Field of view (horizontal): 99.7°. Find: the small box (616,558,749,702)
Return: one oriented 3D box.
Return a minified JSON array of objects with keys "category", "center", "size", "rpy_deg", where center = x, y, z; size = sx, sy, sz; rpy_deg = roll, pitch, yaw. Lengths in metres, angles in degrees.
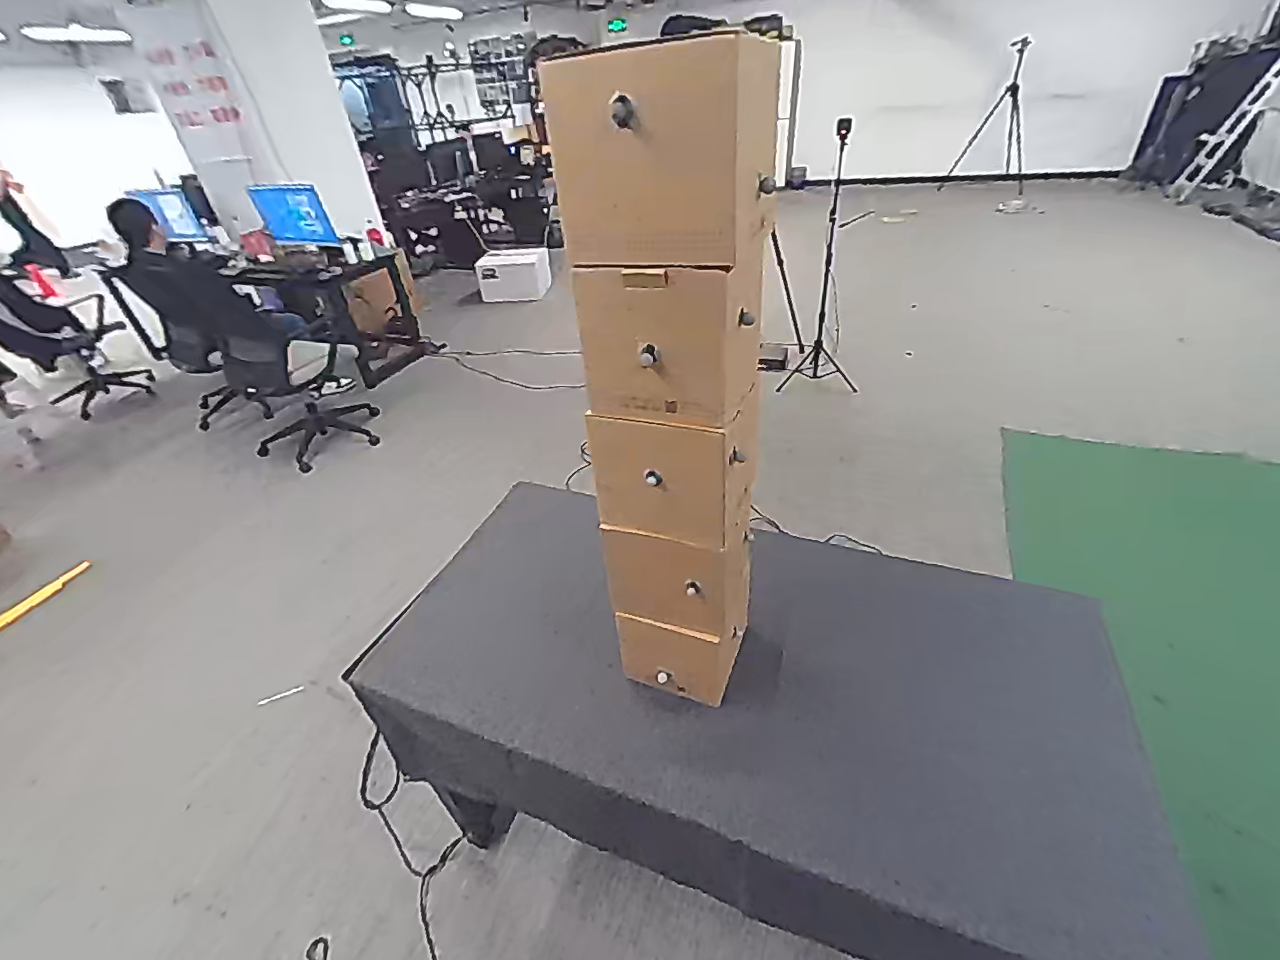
[{"category":"small box","center":[0.075,0.226,0.894],"size":[0.168,0.176,0.179],"rpy_deg":[11,39,22]}]

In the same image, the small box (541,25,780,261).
[{"category":"small box","center":[0.030,-0.320,0.533],"size":[0.179,0.176,0.168],"rpy_deg":[10,37,21]}]

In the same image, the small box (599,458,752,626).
[{"category":"small box","center":[0.059,0.091,0.803],"size":[0.179,0.176,0.168],"rpy_deg":[9,37,20]}]

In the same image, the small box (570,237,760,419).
[{"category":"small box","center":[0.041,-0.187,0.631],"size":[0.168,0.176,0.179],"rpy_deg":[10,38,21]}]
